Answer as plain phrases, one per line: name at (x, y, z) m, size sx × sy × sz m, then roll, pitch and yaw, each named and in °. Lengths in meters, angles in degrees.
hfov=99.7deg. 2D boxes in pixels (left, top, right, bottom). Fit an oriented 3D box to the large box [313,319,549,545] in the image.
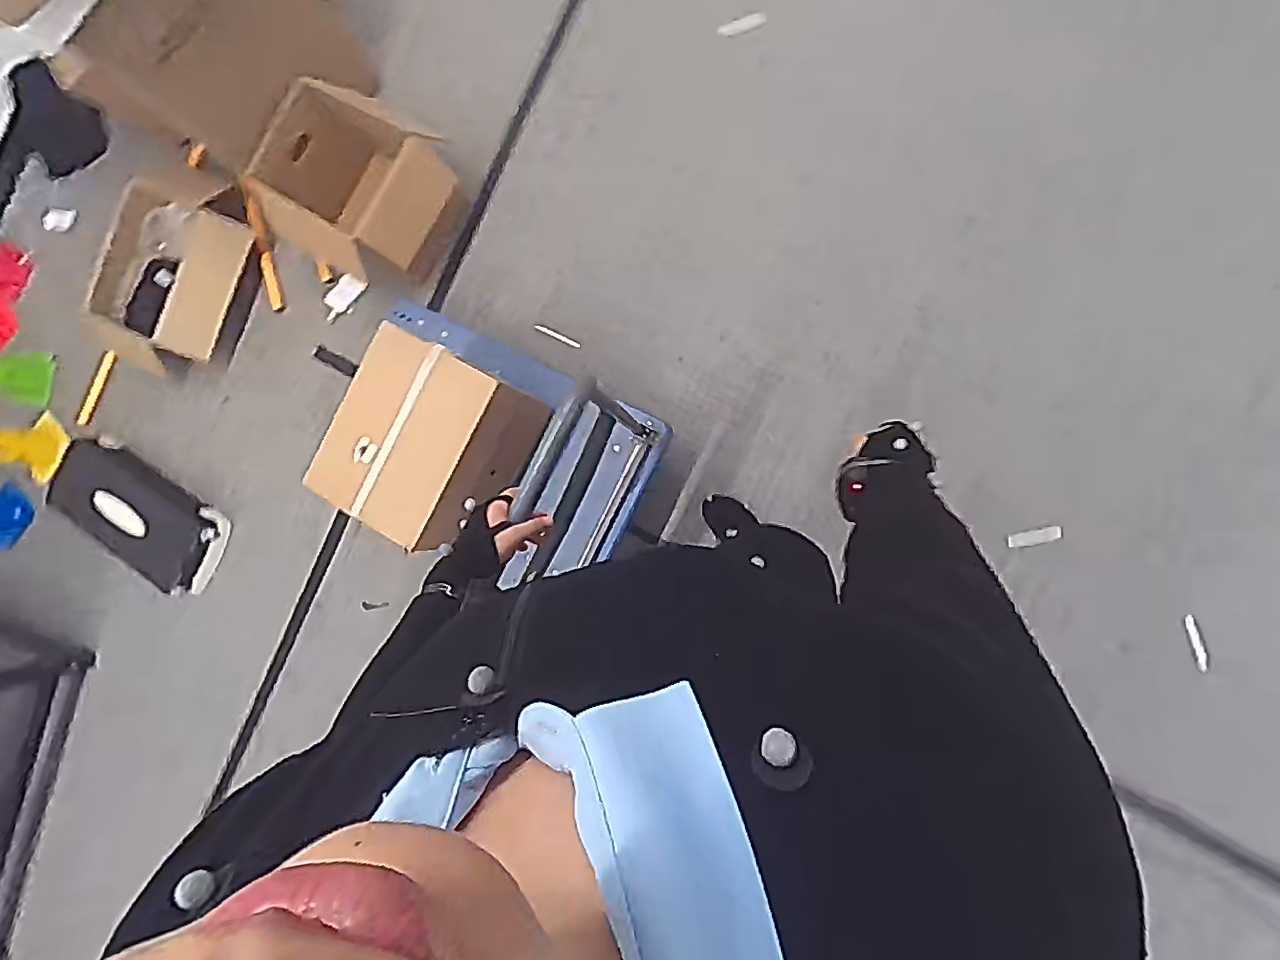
large box at (-0.476, -0.104, 1.296) m, size 0.320 × 0.320 × 0.408 m, roll 28°, pitch 94°, yaw 12°
